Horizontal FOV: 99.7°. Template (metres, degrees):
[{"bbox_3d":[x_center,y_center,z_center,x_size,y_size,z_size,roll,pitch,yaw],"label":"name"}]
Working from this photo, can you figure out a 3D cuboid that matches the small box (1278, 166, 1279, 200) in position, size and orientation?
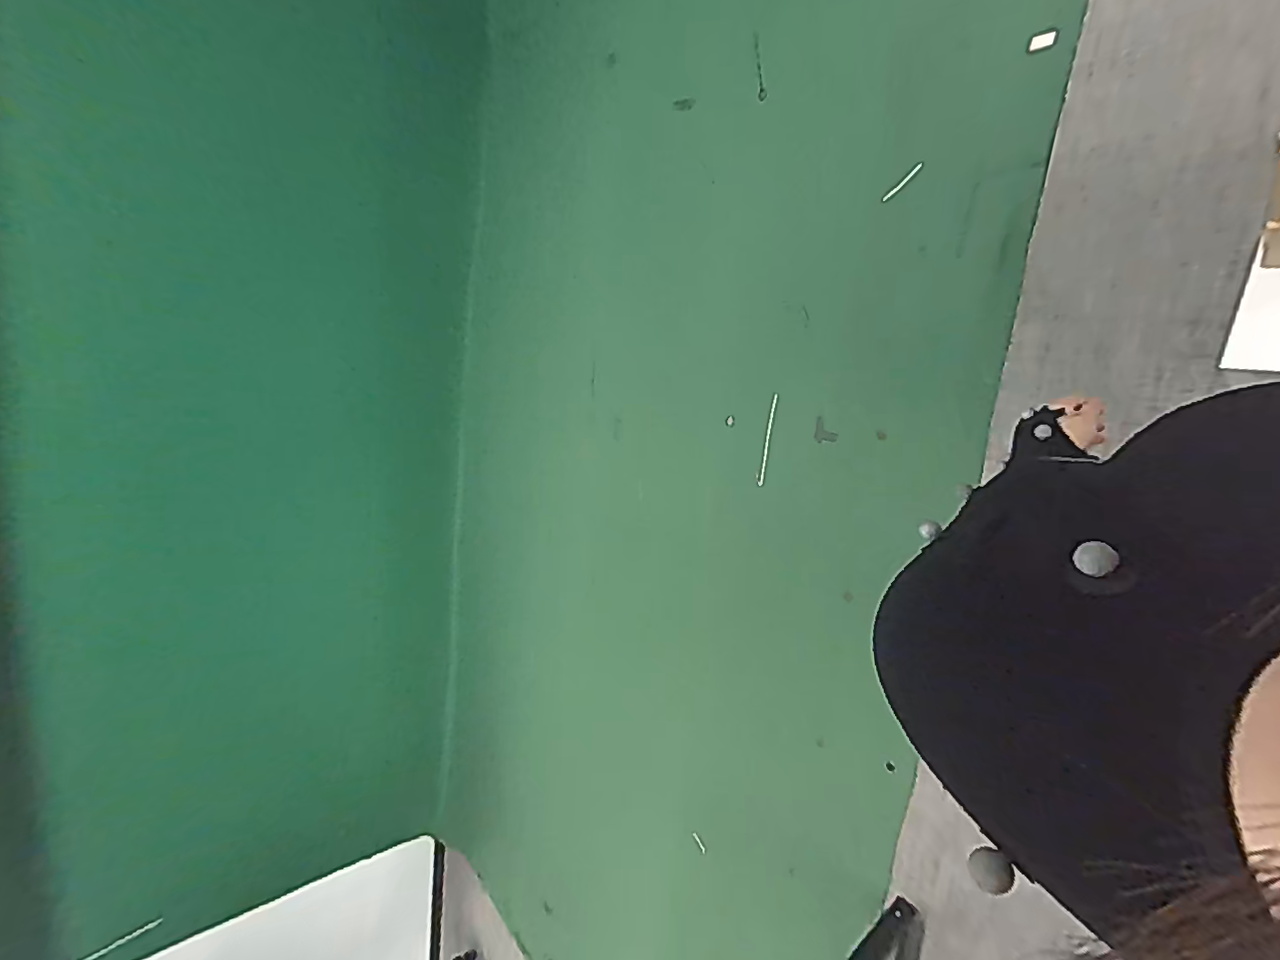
[{"bbox_3d":[0.603,-0.308,0.383,0.168,0.176,0.179,22,108,46],"label":"small box"}]

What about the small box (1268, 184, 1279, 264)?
[{"bbox_3d":[0.723,-0.310,0.496,0.168,0.176,0.179,20,107,46],"label":"small box"}]
